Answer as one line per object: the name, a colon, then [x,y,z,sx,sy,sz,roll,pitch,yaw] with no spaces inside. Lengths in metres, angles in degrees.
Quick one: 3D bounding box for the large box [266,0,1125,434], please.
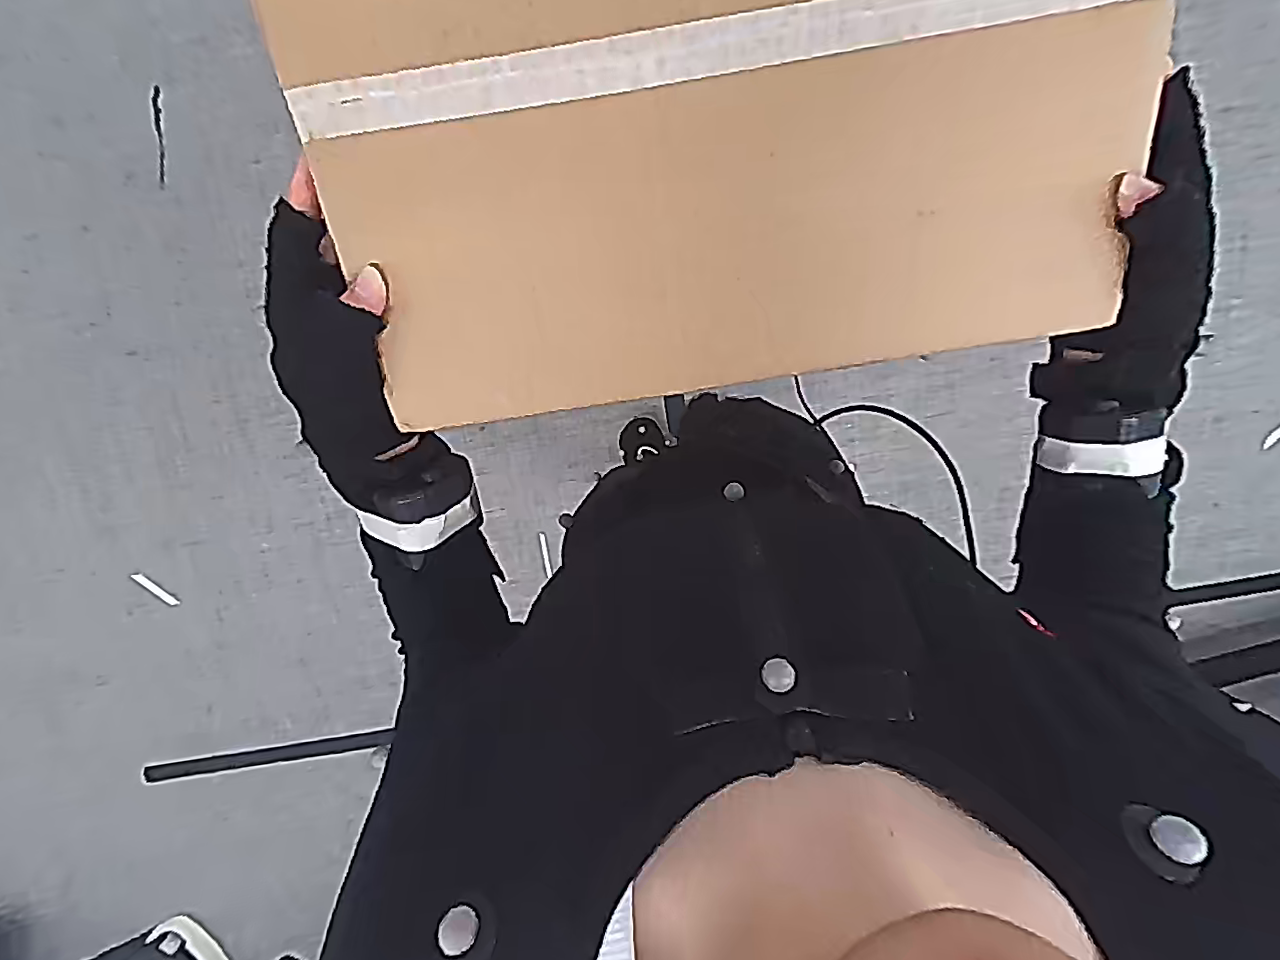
large box: [0.030,-0.255,0.397,0.408,0.320,0.320,-9,111,1]
